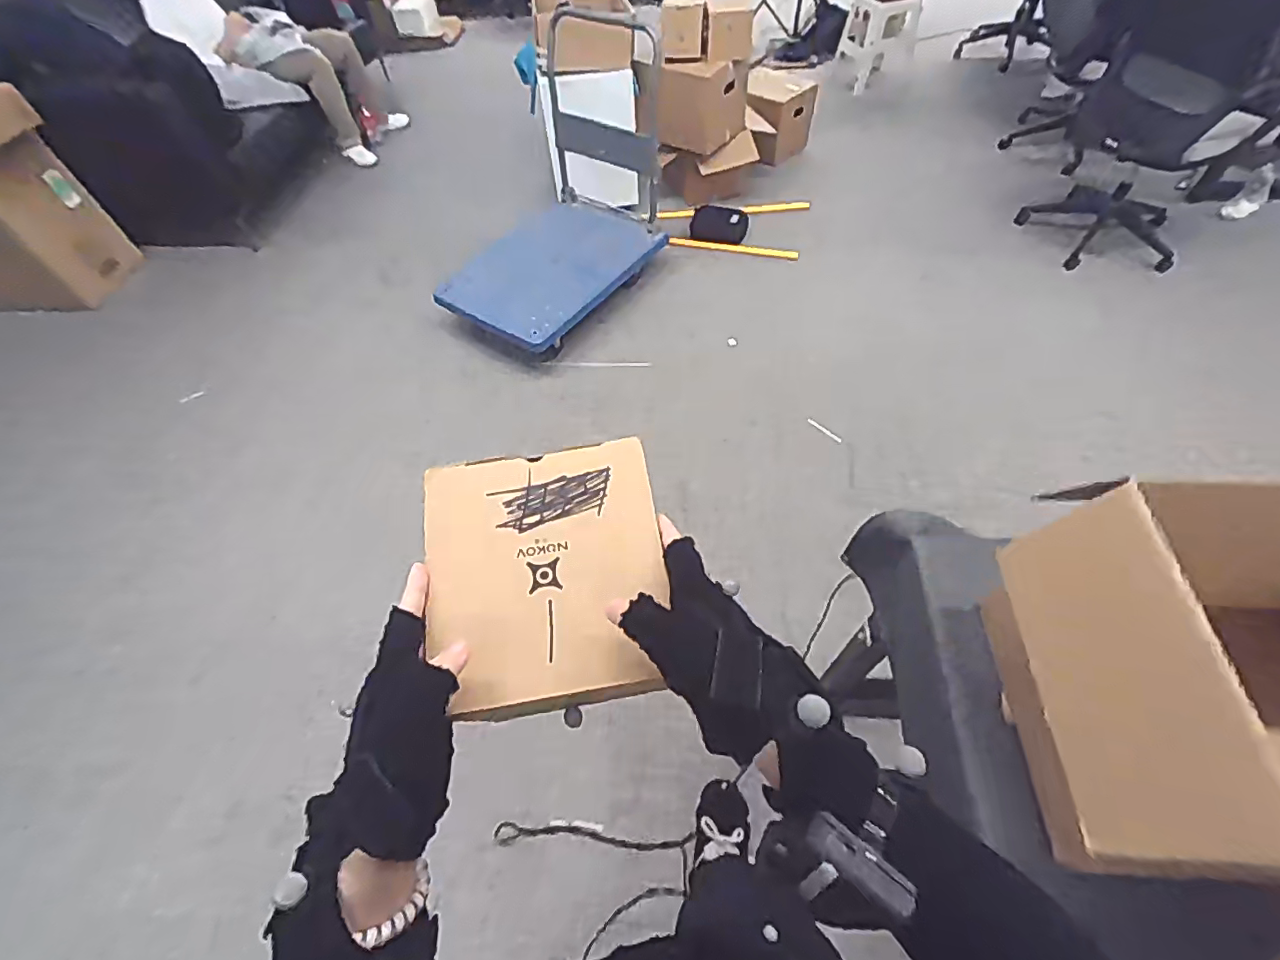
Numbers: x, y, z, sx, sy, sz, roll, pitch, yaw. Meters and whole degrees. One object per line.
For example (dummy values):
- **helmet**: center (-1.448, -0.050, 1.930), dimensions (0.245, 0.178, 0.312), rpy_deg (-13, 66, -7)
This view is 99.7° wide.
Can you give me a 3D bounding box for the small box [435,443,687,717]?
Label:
- **small box**: center (-0.062, 0.092, 0.455), dimensions (0.168, 0.176, 0.179), rpy_deg (-8, 65, -4)
